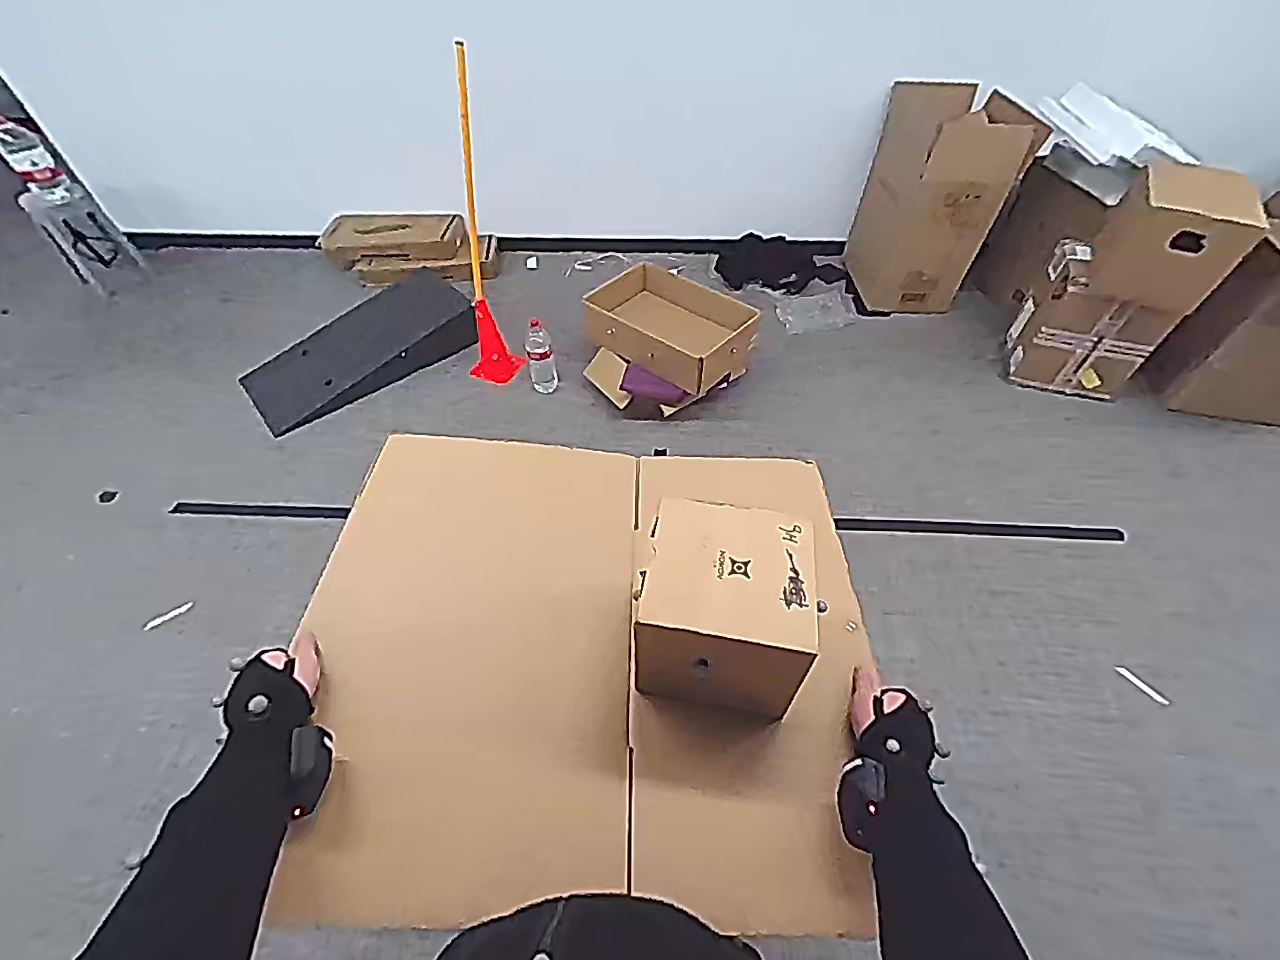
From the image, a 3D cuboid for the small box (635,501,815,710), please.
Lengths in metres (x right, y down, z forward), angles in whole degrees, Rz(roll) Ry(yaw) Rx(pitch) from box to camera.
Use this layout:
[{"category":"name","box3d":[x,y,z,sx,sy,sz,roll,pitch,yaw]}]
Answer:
[{"category":"small box","box3d":[0.096,0.148,0.630,0.179,0.176,0.168,7,48,8]}]
